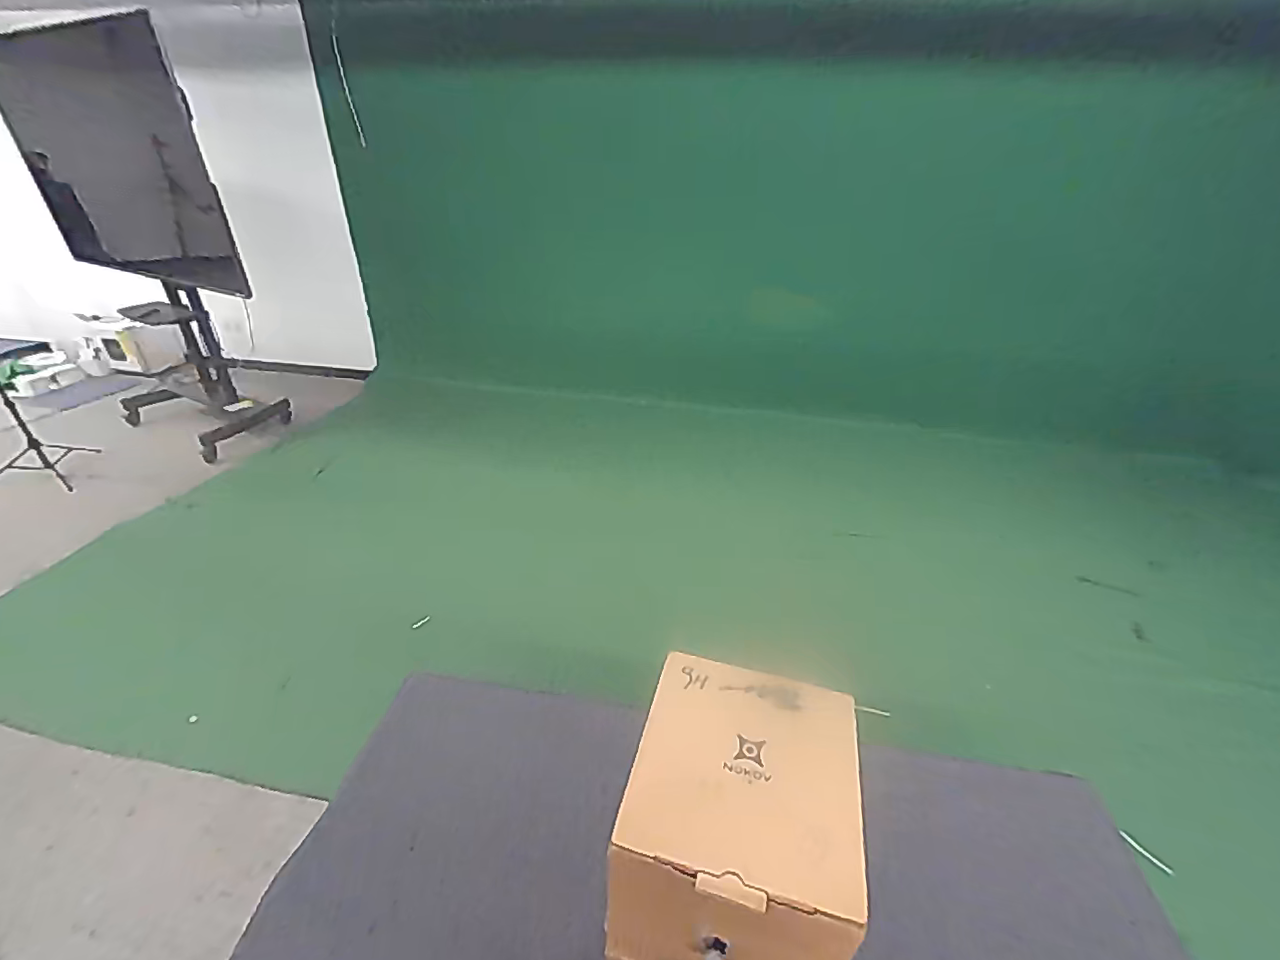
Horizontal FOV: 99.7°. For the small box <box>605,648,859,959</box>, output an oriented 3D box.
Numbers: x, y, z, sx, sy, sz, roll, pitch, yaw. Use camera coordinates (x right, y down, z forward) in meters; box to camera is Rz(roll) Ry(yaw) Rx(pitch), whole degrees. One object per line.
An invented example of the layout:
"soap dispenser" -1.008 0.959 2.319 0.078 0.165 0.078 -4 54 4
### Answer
"small box" 0.078 0.279 0.452 0.168 0.176 0.179 11 34 13
